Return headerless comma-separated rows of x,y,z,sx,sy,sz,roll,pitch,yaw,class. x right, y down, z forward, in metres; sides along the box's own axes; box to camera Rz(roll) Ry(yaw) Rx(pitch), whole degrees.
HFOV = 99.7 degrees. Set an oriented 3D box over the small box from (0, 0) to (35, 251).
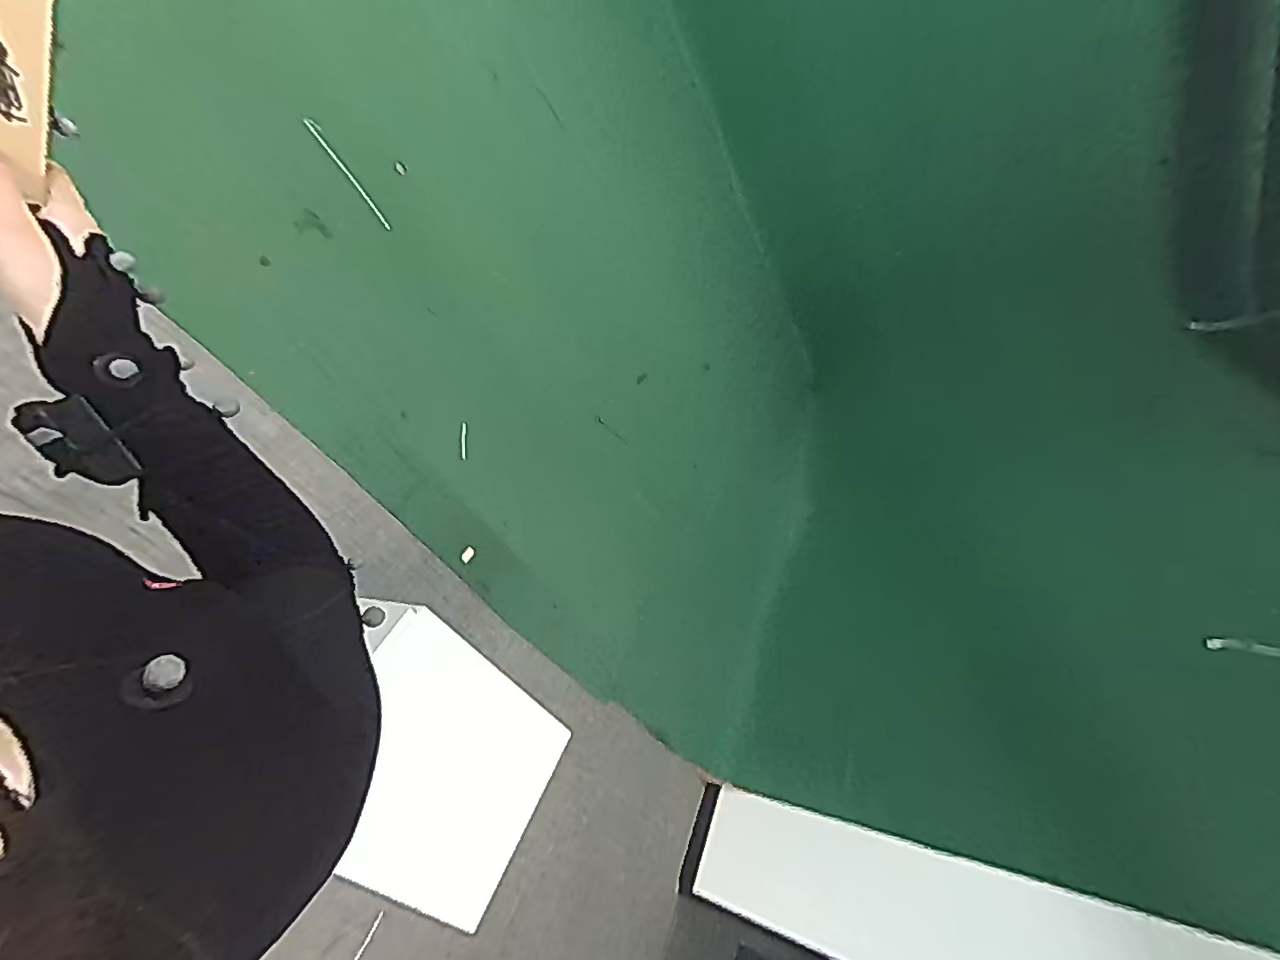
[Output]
-0.485,-0.255,0.312,0.179,0.176,0.168,2,88,-49,small box
